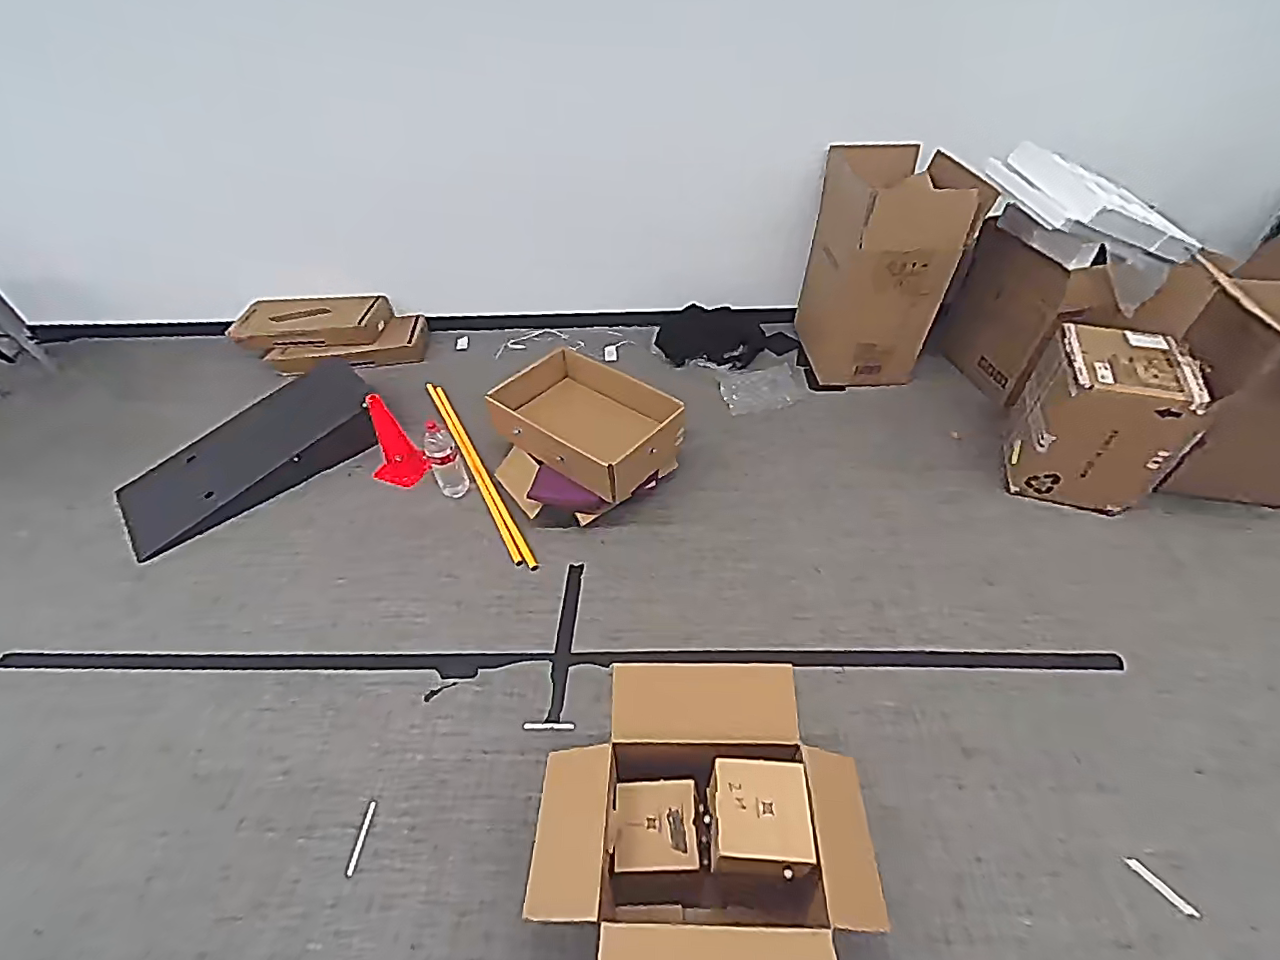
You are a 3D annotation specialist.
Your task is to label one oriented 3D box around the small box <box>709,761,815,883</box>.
[{"bbox_3d":[0.230,0.677,1.067,0.179,0.176,0.168,1,44,4],"label":"small box"}]
